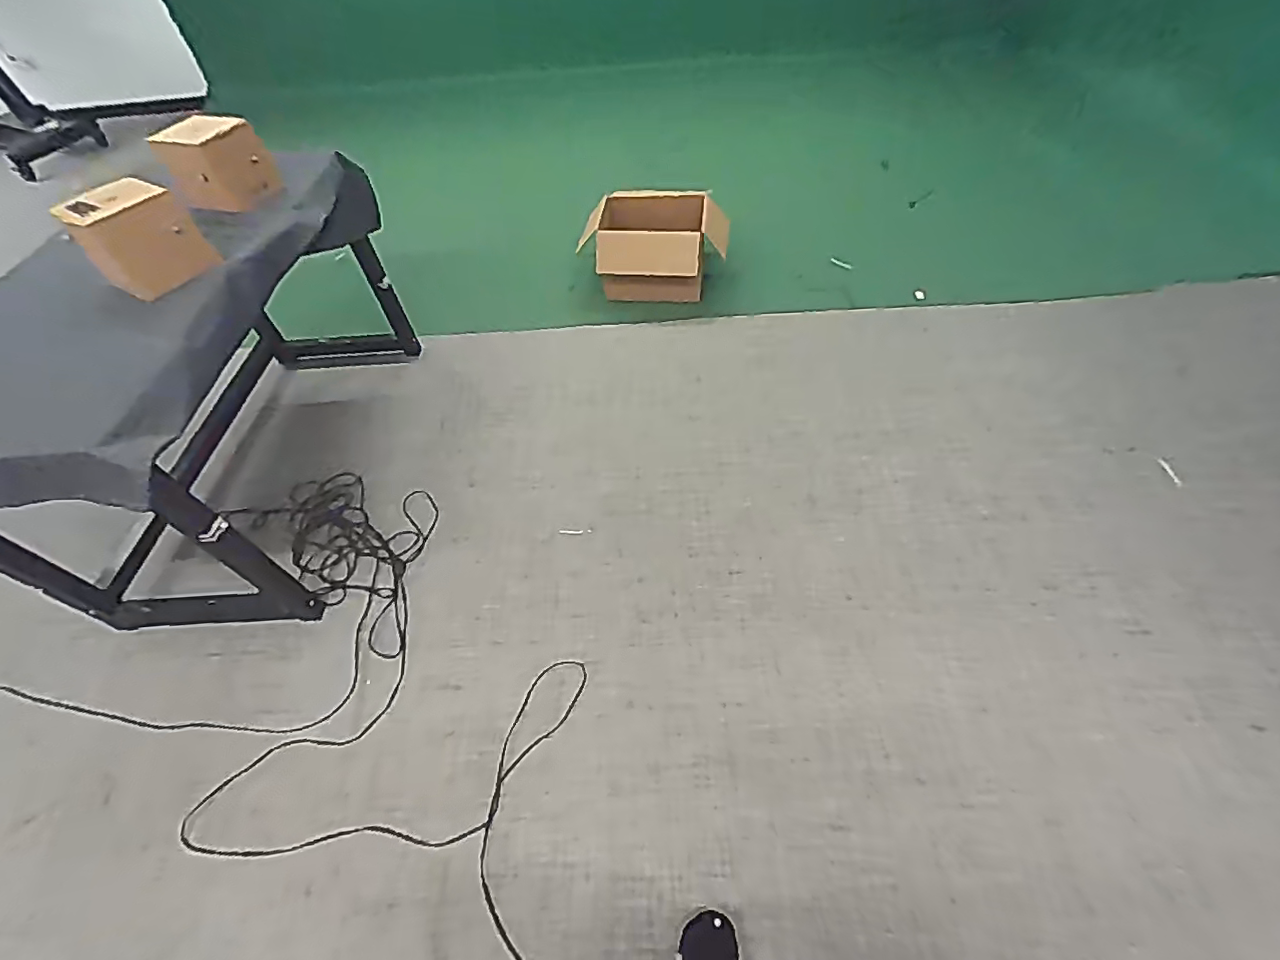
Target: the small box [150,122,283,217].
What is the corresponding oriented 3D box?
[{"bbox_3d":[-1.094,-0.810,1.416,0.179,0.176,0.168,11,53,15],"label":"small box"}]
